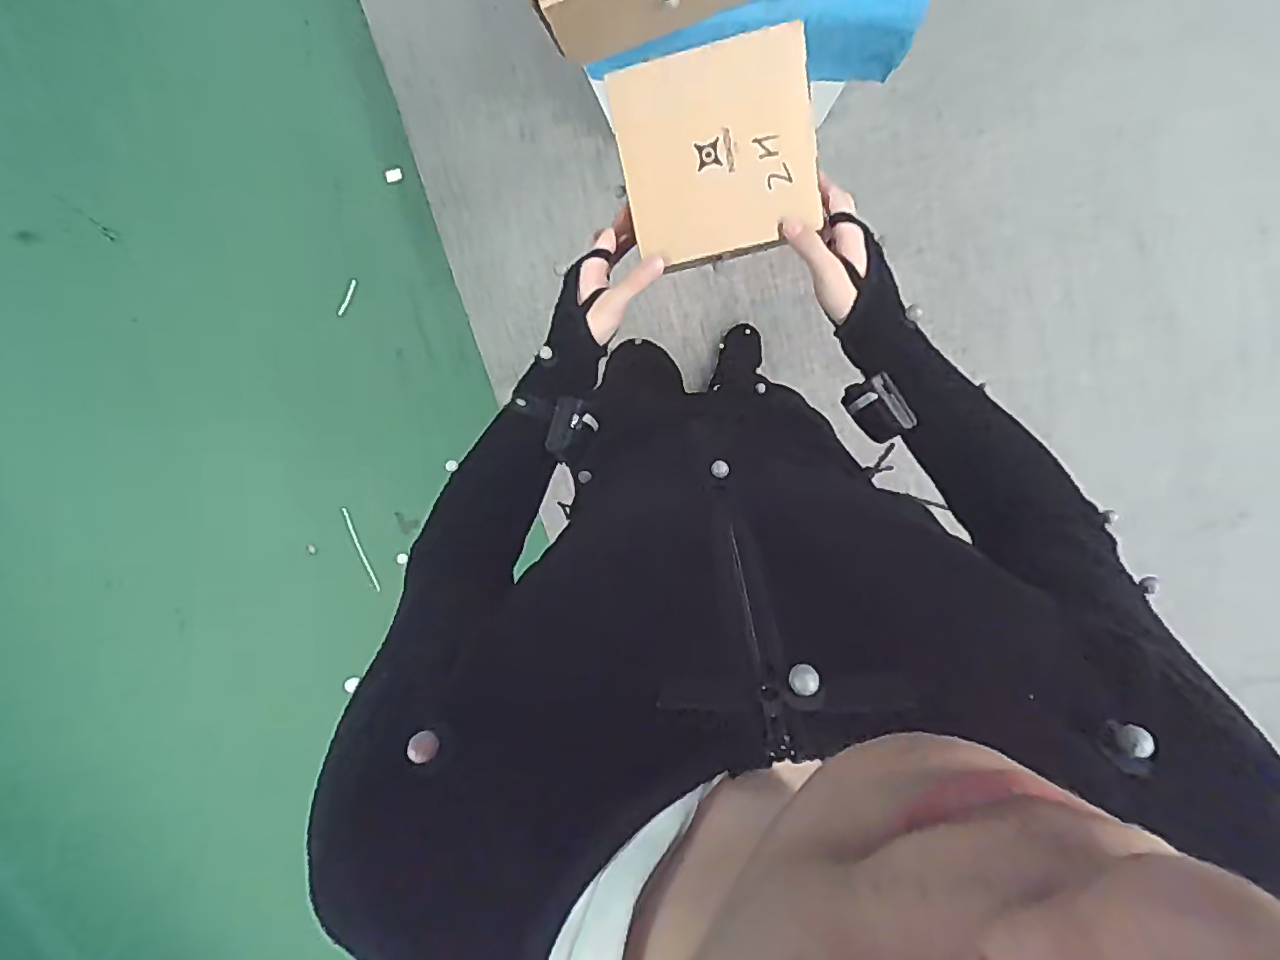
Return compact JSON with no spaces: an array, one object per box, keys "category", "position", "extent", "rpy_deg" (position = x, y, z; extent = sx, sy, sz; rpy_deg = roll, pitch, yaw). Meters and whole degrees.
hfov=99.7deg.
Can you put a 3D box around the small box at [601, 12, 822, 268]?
[{"category":"small box","position":[0.070,-0.322,0.555],"extent":[0.179,0.176,0.168],"rpy_deg":[-11,108,6]}]
